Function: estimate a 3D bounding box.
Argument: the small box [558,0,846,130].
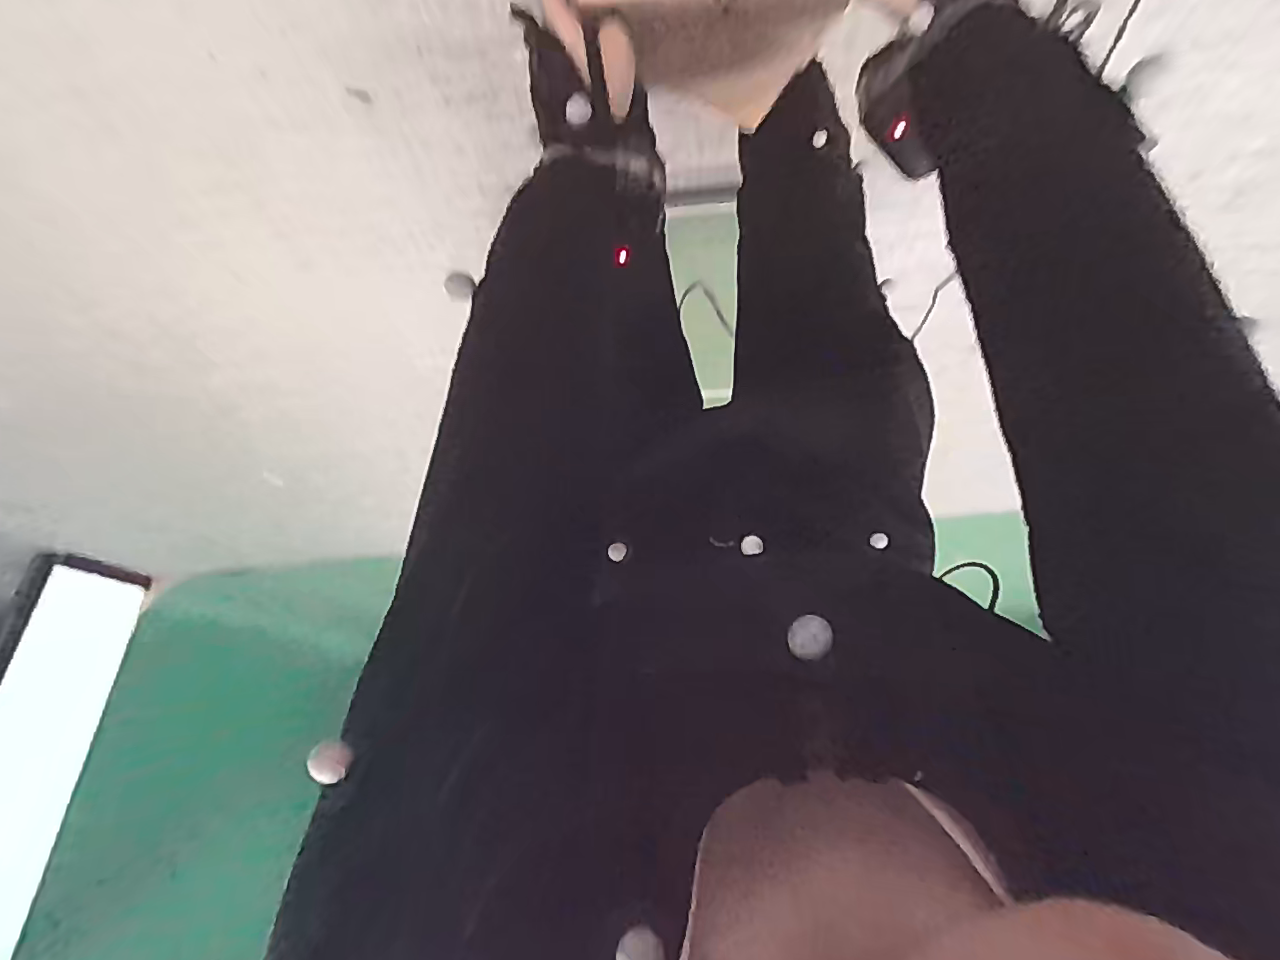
[{"bbox_3d":[0.048,-0.409,0.386,0.179,0.176,0.168,5,158,-28],"label":"small box"}]
